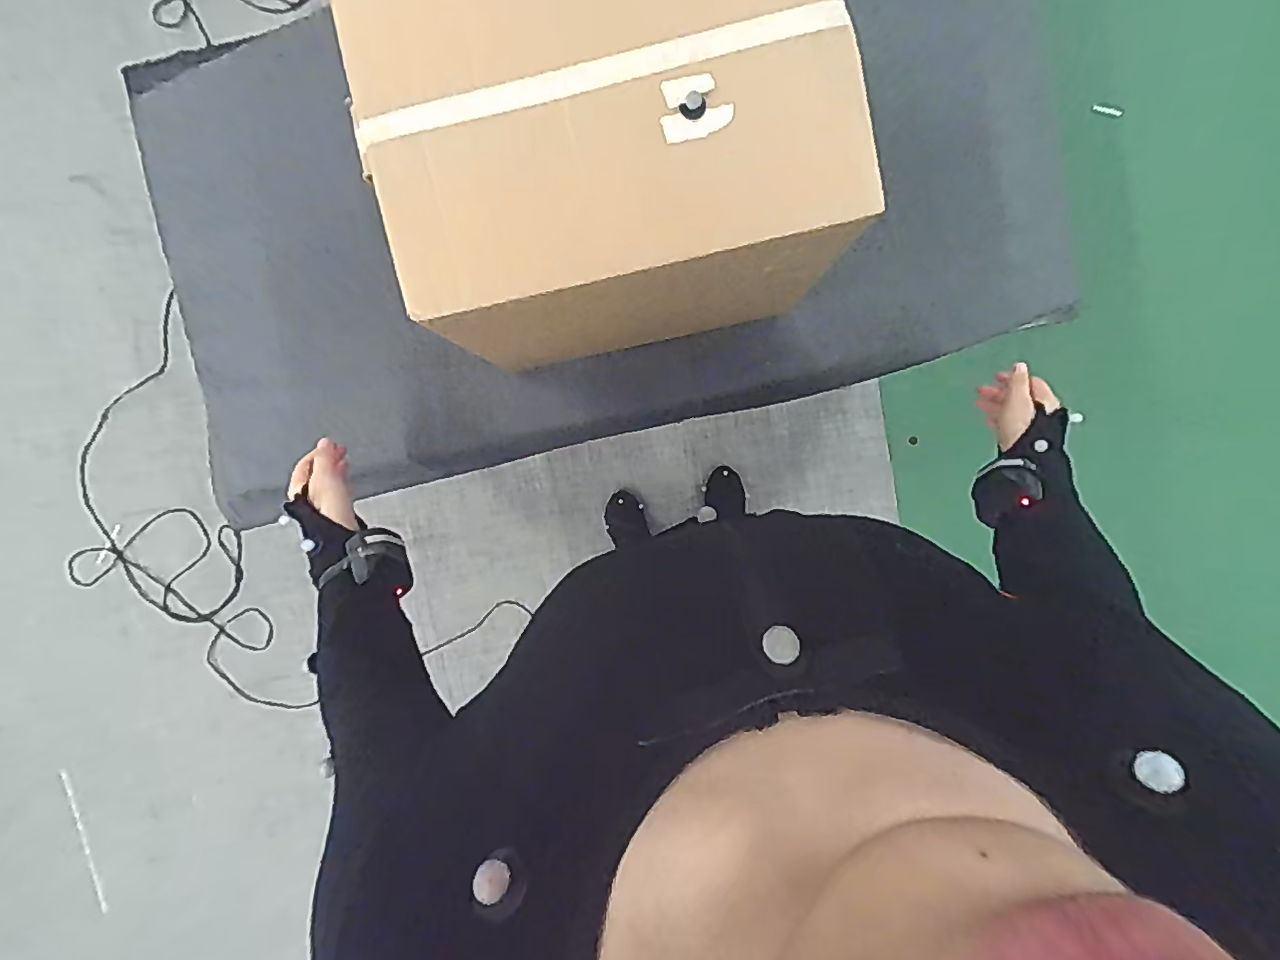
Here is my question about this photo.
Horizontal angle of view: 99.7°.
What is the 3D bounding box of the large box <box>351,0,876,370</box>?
[{"bbox_3d":[-0.023,-0.339,0.605,0.408,0.320,0.320,-13,93,2],"label":"large box"}]
